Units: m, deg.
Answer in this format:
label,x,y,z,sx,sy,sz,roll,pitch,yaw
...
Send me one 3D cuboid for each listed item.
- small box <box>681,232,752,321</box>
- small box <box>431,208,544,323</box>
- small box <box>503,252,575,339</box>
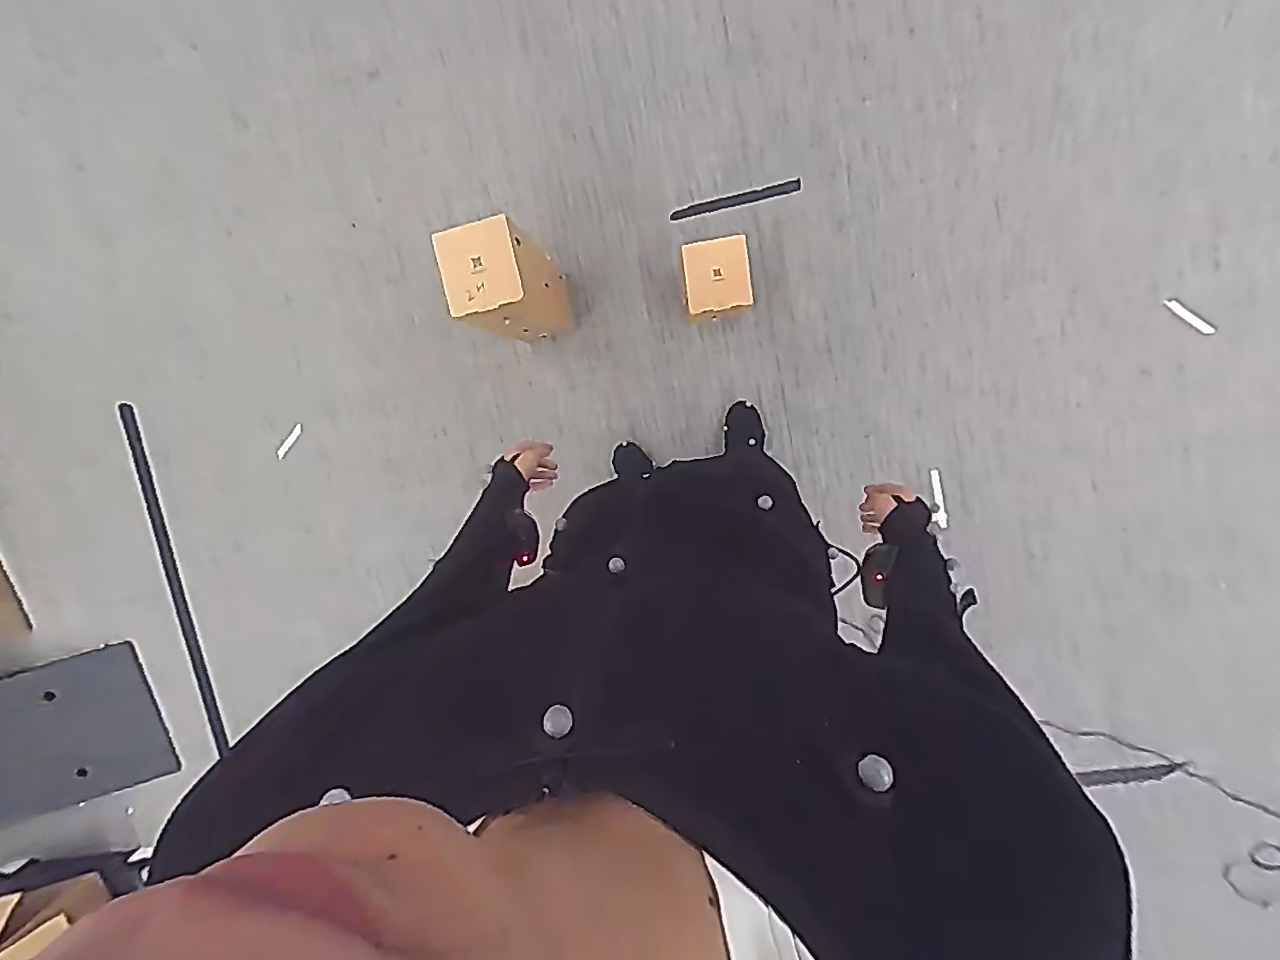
label,x,y,z,sx,sy,sz,roll,pitch,yaw
small box,0.201,-0.541,1.457,0.168,0.176,0.179,-8,97,6
small box,-0.324,-0.457,1.179,0.168,0.176,0.179,-12,97,8
small box,-0.290,-0.506,1.502,0.168,0.176,0.179,-12,96,7
